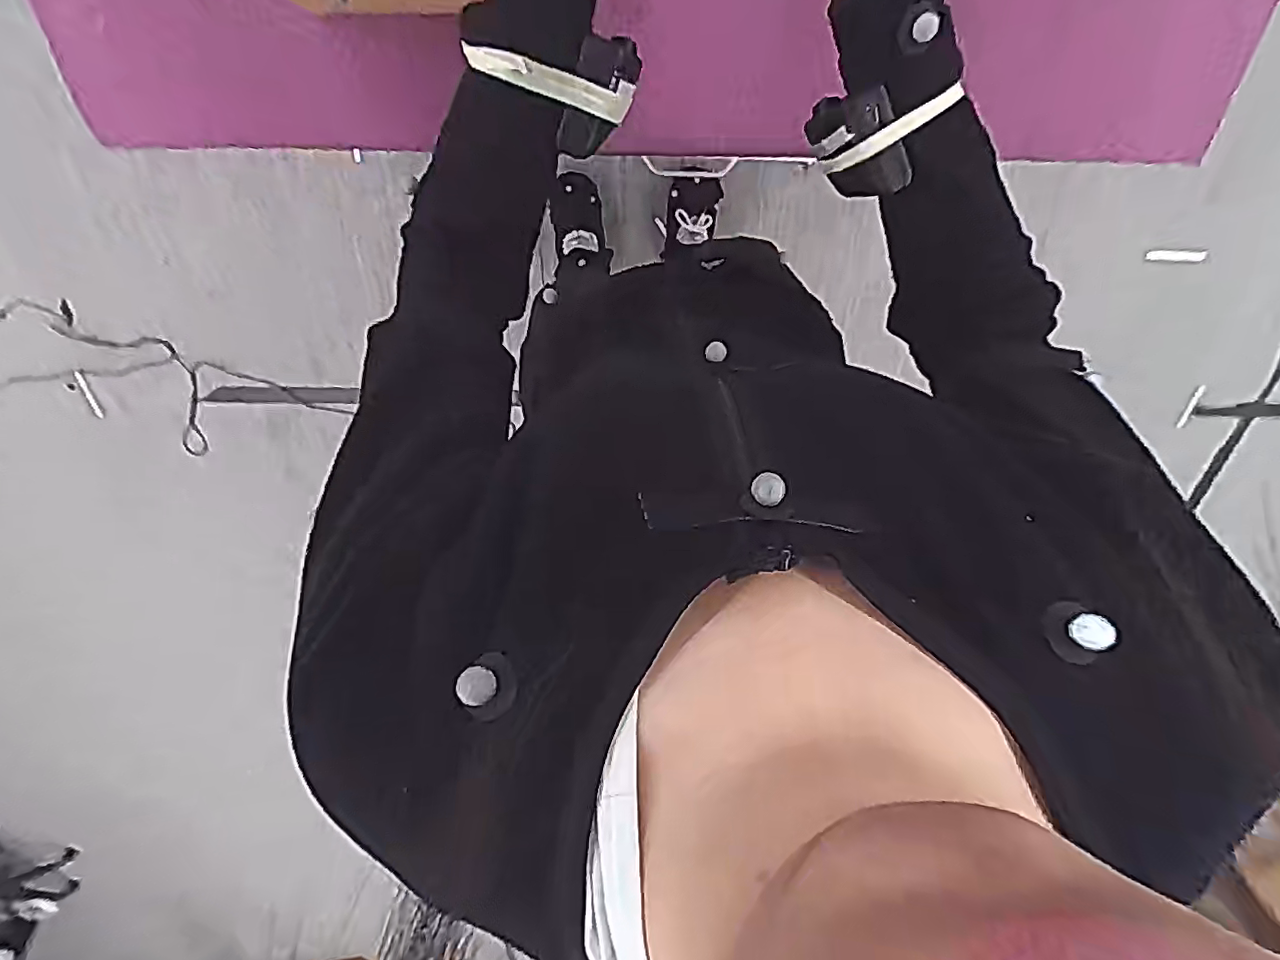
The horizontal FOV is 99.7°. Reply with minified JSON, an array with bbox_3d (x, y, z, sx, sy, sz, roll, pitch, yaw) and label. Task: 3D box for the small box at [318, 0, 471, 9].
[{"bbox_3d":[-0.226,-0.486,0.411,0.179,0.176,0.168,1,121,-1],"label":"small box"}]
